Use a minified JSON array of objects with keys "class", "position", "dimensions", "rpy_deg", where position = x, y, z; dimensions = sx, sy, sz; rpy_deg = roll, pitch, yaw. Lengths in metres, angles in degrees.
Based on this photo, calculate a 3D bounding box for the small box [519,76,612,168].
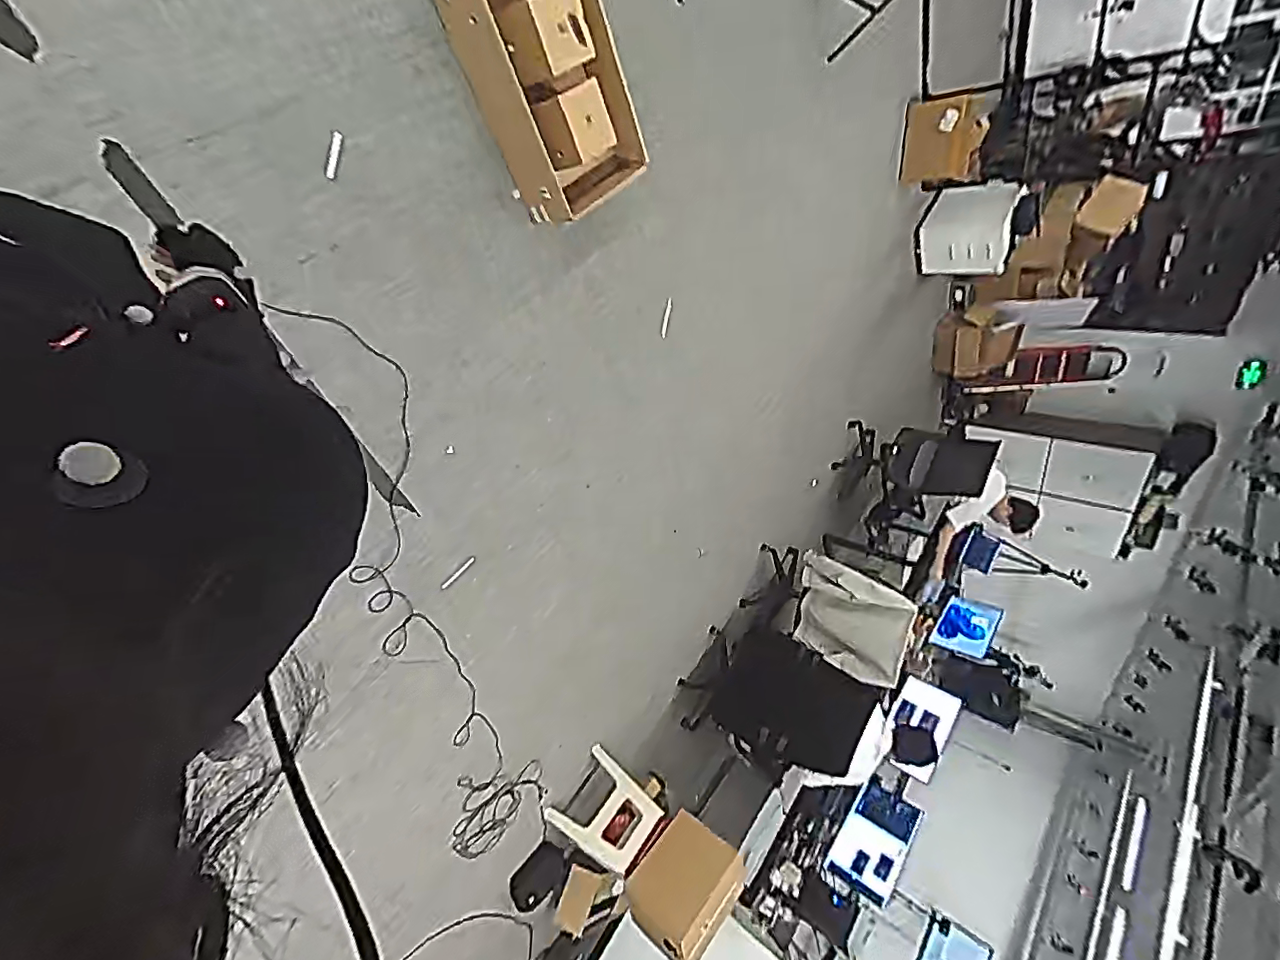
[{"class":"small box","position":[-0.220,-1.044,1.593],"dimensions":[0.168,0.176,0.179],"rpy_deg":[-50,134,-27]}]
